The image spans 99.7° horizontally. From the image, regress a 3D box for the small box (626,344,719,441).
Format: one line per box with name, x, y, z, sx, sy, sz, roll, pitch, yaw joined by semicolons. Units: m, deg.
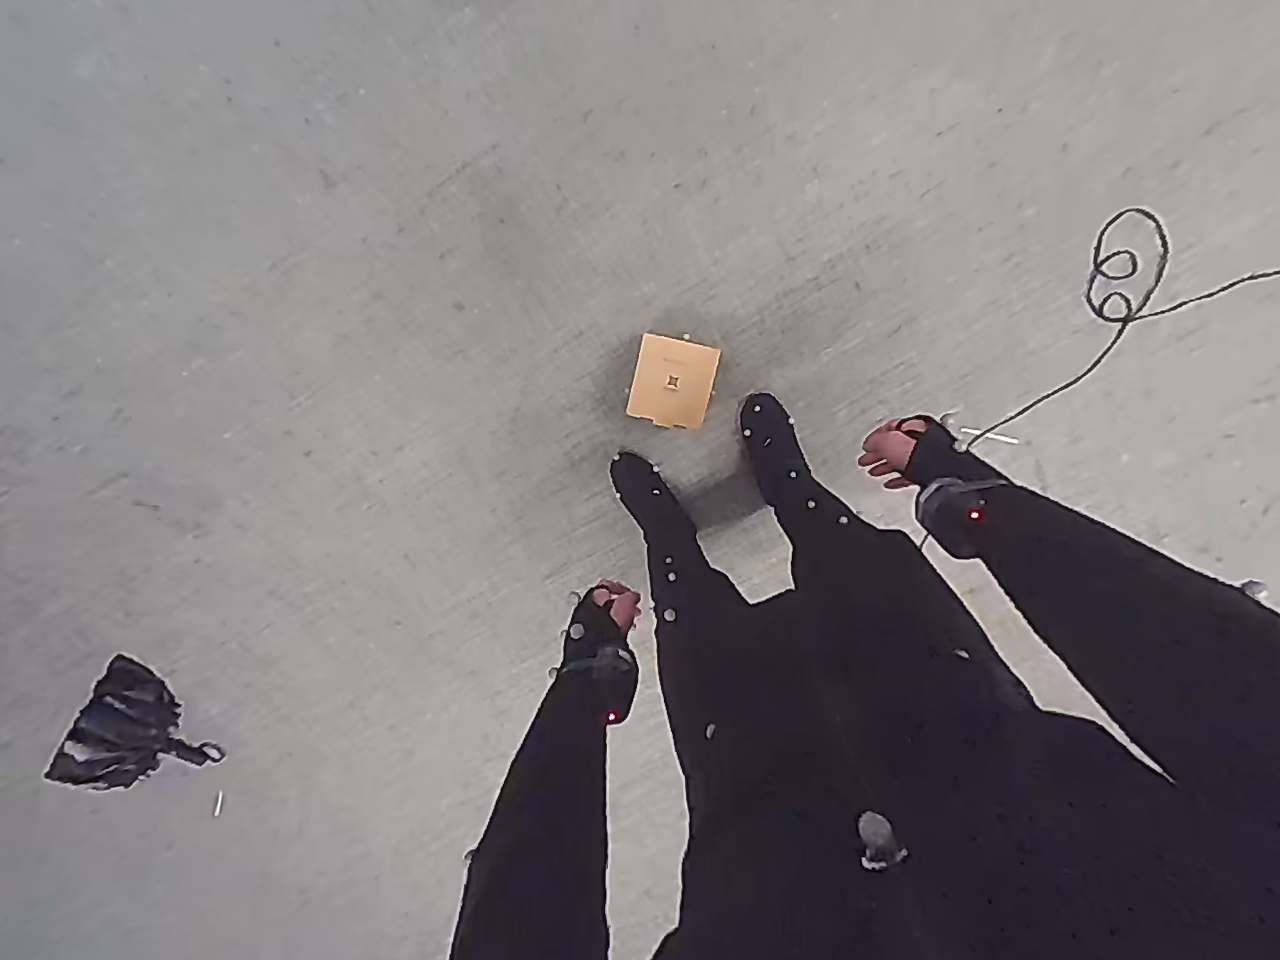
small box;0.070;-0.201;1.209;0.168;0.176;0.179;12;103;-2
